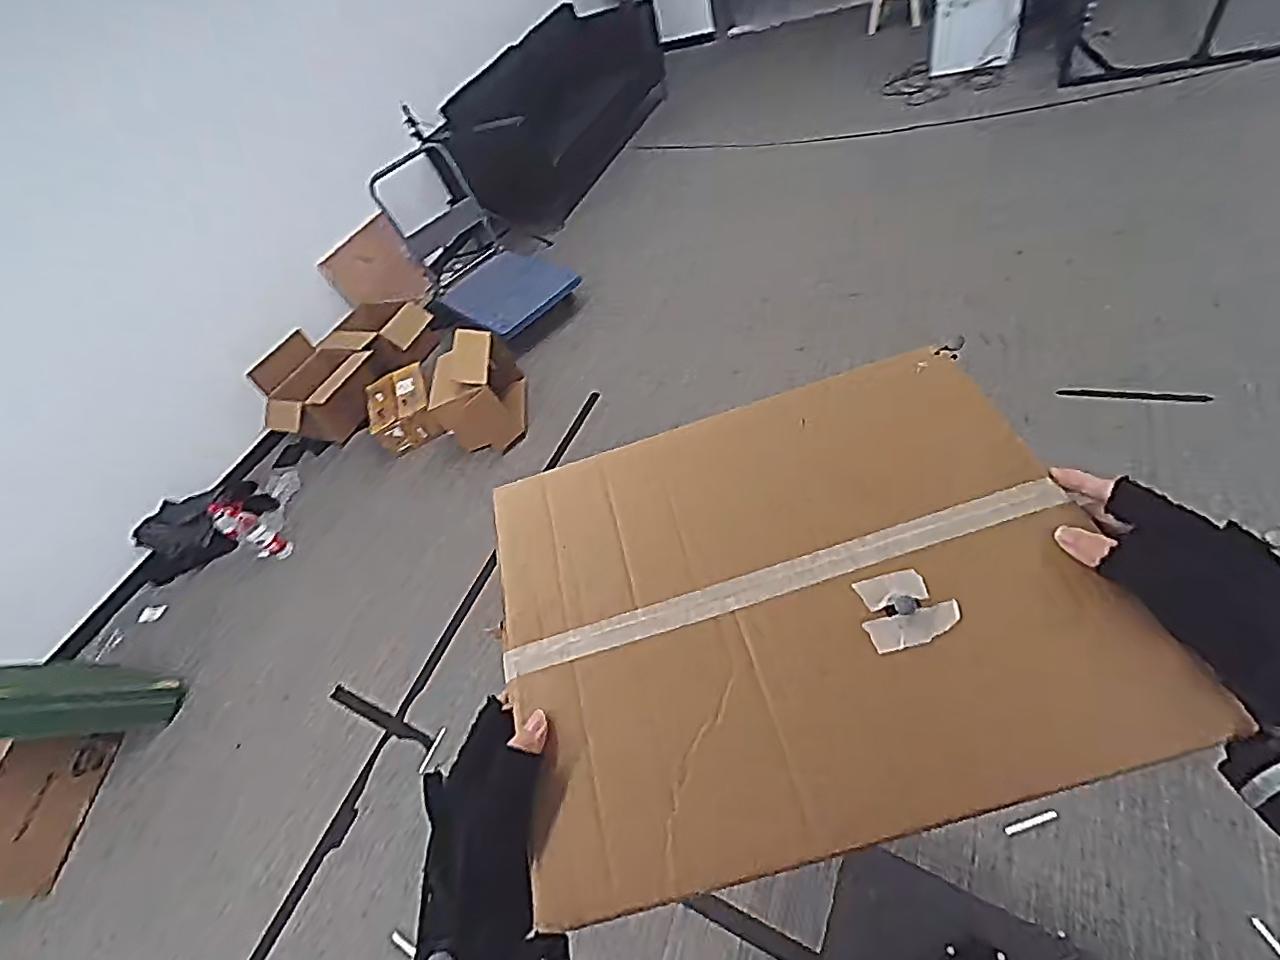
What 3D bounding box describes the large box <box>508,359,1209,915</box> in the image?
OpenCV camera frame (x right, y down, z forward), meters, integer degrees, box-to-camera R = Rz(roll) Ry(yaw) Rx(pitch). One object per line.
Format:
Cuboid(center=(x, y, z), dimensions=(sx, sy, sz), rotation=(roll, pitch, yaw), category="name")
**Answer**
Cuboid(center=(0.133, 0.154, 0.519), dimensions=(0.408, 0.320, 0.320), rotation=(-18, 57, 2), category="large box")
